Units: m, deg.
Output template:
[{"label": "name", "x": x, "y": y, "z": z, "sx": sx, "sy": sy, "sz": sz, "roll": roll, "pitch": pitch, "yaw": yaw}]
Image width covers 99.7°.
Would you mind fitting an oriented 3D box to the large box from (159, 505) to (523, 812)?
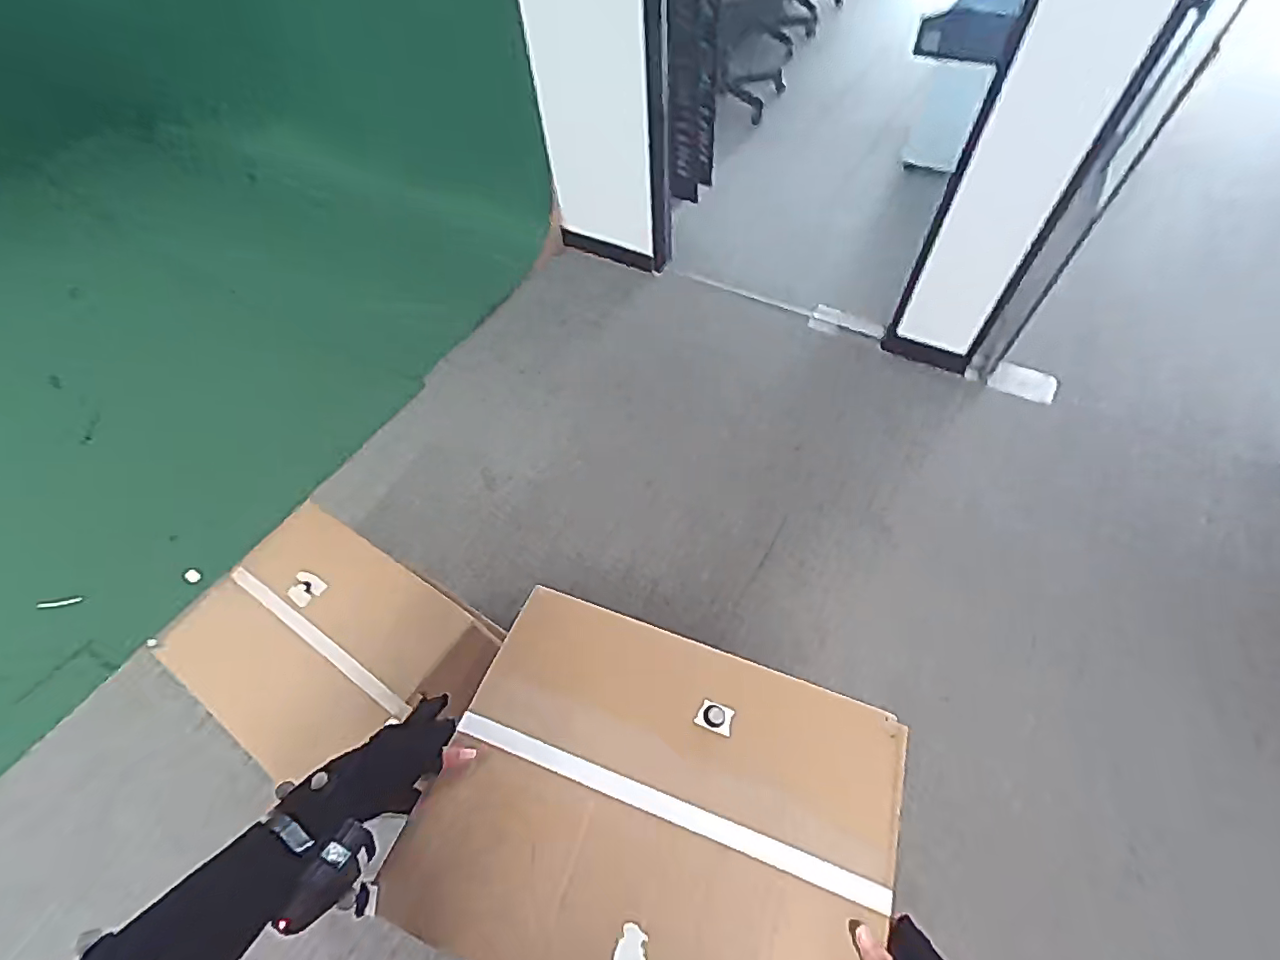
[{"label": "large box", "x": -0.486, "y": 0.314, "z": 0.951, "sx": 0.408, "sy": 0.320, "sz": 0.320, "roll": 28, "pitch": 65, "yaw": 22}]
